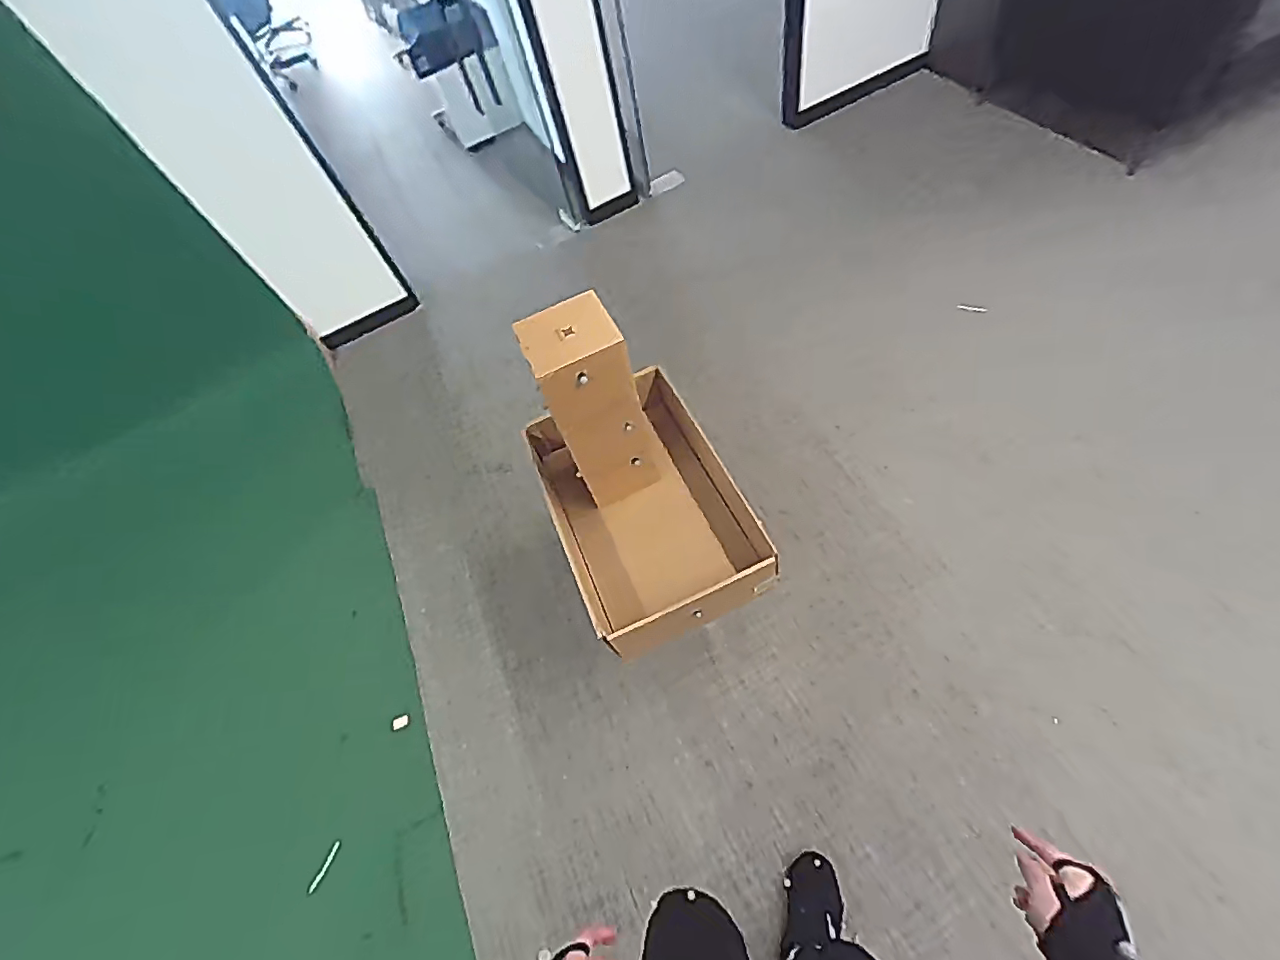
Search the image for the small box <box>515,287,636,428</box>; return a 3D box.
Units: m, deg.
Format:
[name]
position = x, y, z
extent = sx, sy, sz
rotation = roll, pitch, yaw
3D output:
[small box]
position = -0.116, -0.236, 1.058
extent = 0.179, 0.176, 0.168
rotation = -25, 58, -4
